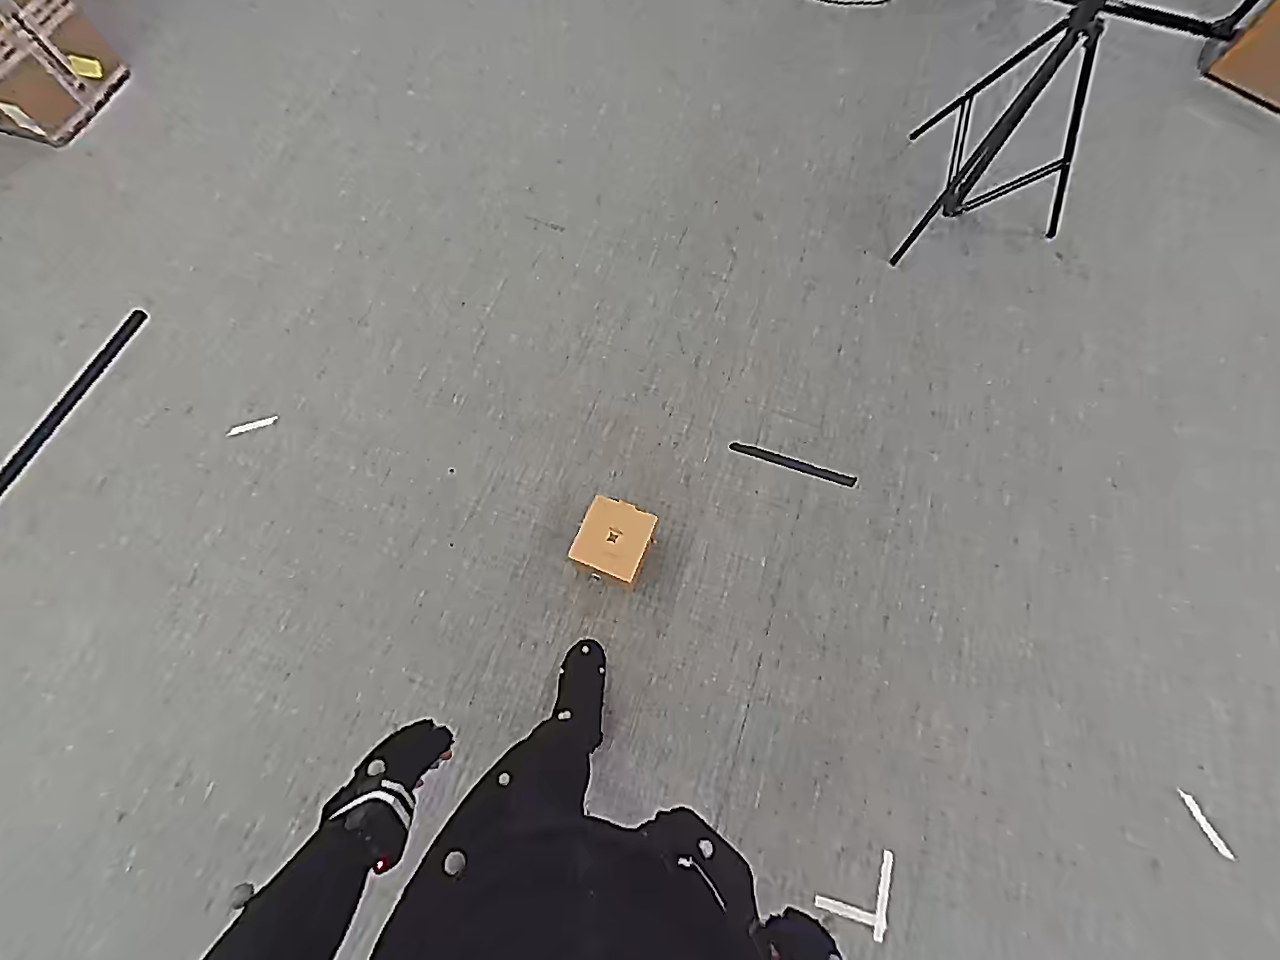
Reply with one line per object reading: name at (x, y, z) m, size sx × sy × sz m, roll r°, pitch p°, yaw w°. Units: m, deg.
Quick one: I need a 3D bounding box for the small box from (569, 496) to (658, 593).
small box at (-0.063, 0.168, 1.360) m, size 0.168 × 0.176 × 0.179 m, roll 21°, pitch 72°, yaw 8°
